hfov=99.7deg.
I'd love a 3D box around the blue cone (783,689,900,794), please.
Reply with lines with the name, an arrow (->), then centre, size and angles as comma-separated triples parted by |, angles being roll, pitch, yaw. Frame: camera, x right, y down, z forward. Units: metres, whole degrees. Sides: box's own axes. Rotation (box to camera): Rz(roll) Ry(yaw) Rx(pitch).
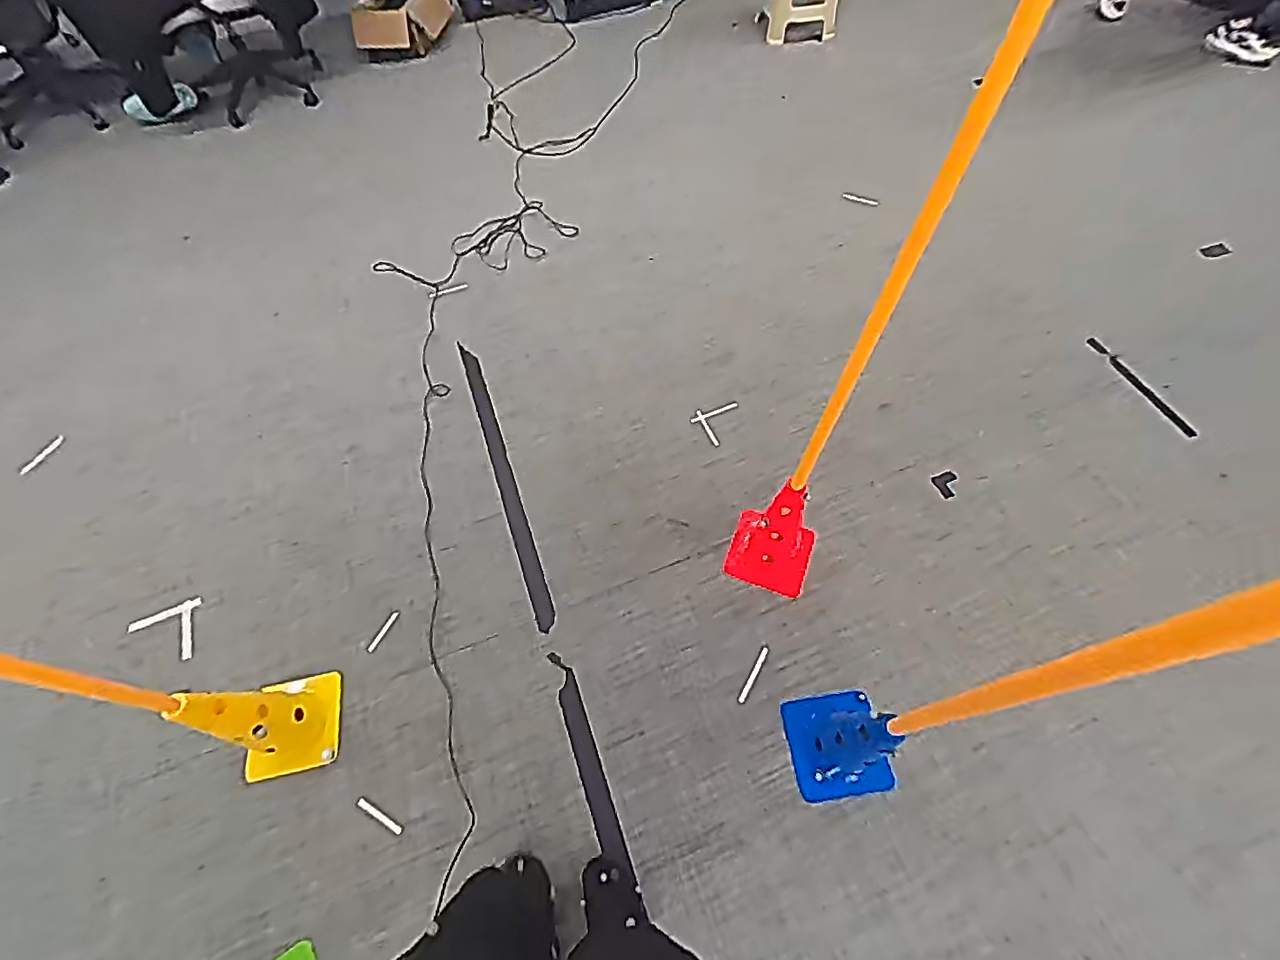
blue cone -> 0.410, 0.472, 1.016 | 0.193, 0.380, 0.192 | -7, 59, -1

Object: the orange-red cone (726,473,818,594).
orange-red cone -> 0.326, 0.091, 1.228 | 0.198, 0.360, 0.199 | 20, 64, 15

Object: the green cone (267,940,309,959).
green cone -> -0.676, 0.892, 0.811 | 0.200, 0.368, 0.202 | -32, 62, -15
